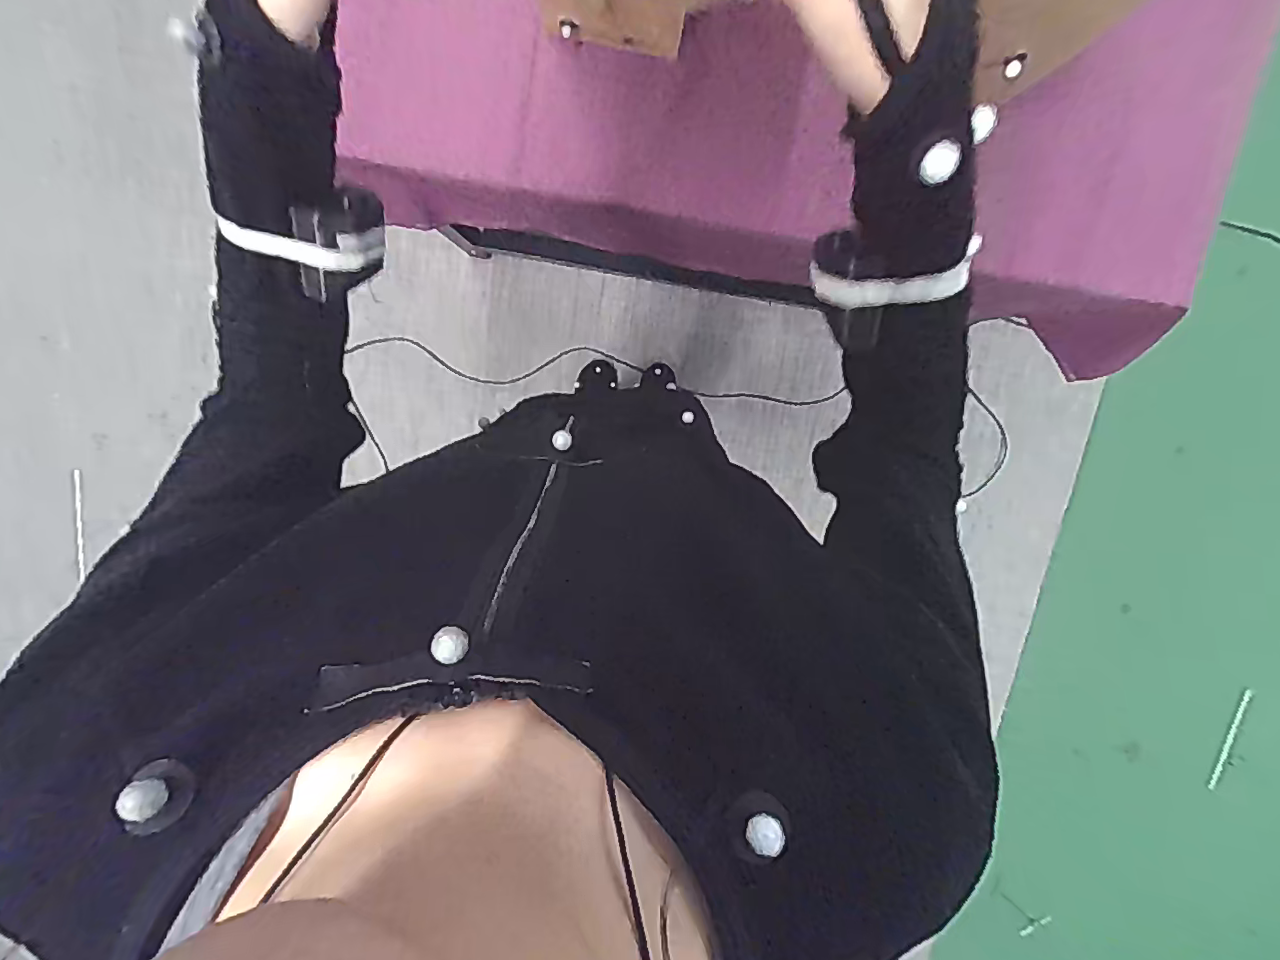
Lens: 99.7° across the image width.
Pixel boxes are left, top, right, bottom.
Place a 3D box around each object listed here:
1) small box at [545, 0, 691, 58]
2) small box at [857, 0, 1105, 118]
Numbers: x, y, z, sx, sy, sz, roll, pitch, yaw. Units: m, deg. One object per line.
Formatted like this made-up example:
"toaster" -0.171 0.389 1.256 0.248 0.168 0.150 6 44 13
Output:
"small box" -0.015 -0.594 0.568 0.168 0.176 0.179 9 100 -4
"small box" 0.373 -0.534 0.594 0.179 0.176 0.168 10 100 -4
